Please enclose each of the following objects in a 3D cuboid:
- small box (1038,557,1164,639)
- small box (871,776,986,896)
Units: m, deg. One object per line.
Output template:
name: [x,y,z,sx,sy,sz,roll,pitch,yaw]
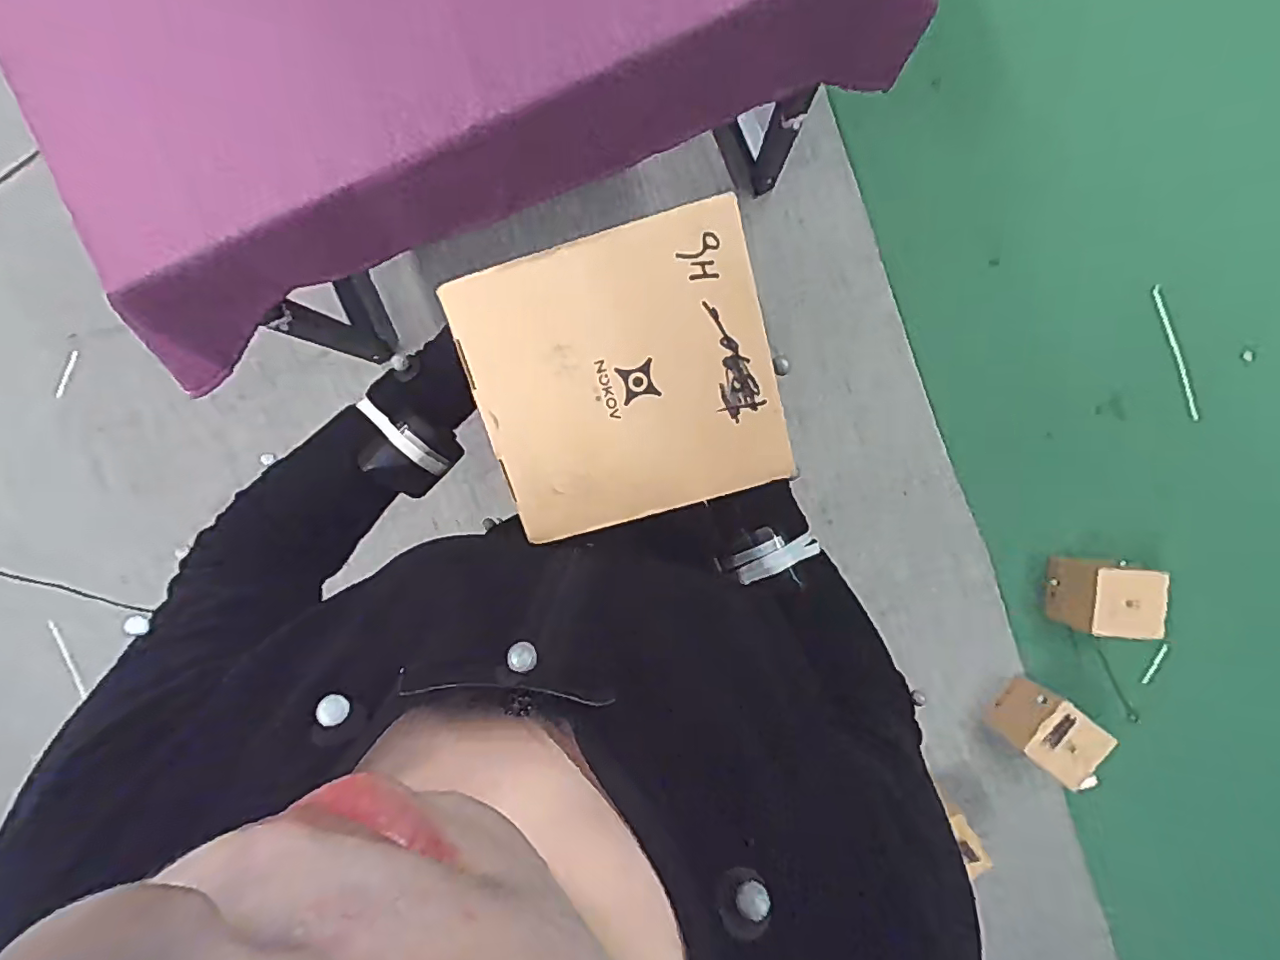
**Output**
small box: [1.188,0.299,1.403,0.179,0.176,0.168,5,92,0]
small box: [0.756,0.932,1.435,0.179,0.176,0.168,-31,92,3]
